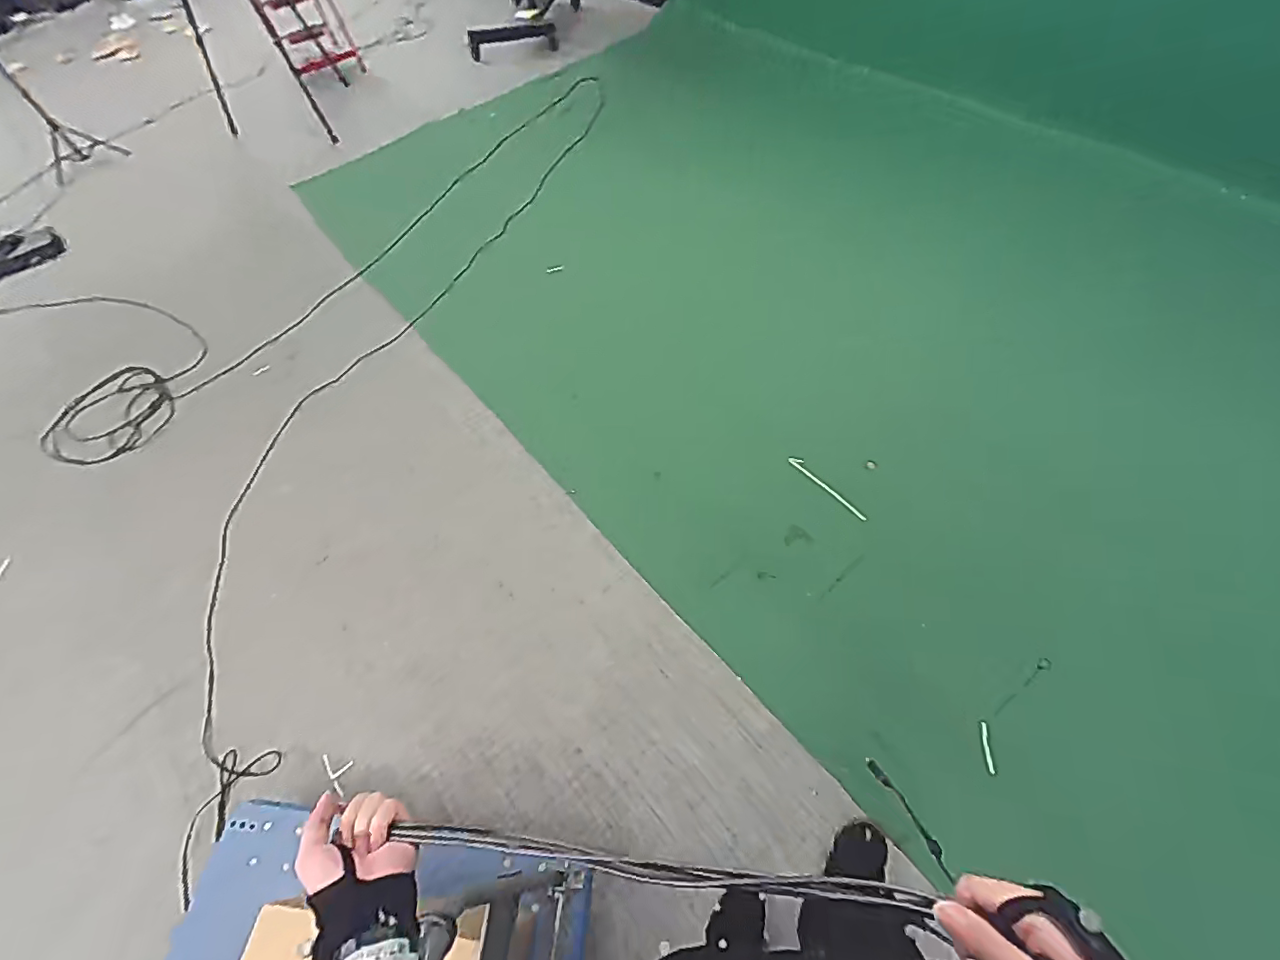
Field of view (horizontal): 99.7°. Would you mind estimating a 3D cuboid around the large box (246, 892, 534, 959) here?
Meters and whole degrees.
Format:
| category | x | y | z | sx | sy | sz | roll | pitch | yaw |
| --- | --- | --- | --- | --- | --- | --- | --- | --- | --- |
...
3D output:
| category | x | y | z | sx | sy | sz | roll | pitch | yaw |
| --- | --- | --- | --- | --- | --- | --- | --- | --- | --- |
| large box | -0.438 | 0.940 | 0.931 | 0.408 | 0.320 | 0.320 | 2 | 57 | 9 |
